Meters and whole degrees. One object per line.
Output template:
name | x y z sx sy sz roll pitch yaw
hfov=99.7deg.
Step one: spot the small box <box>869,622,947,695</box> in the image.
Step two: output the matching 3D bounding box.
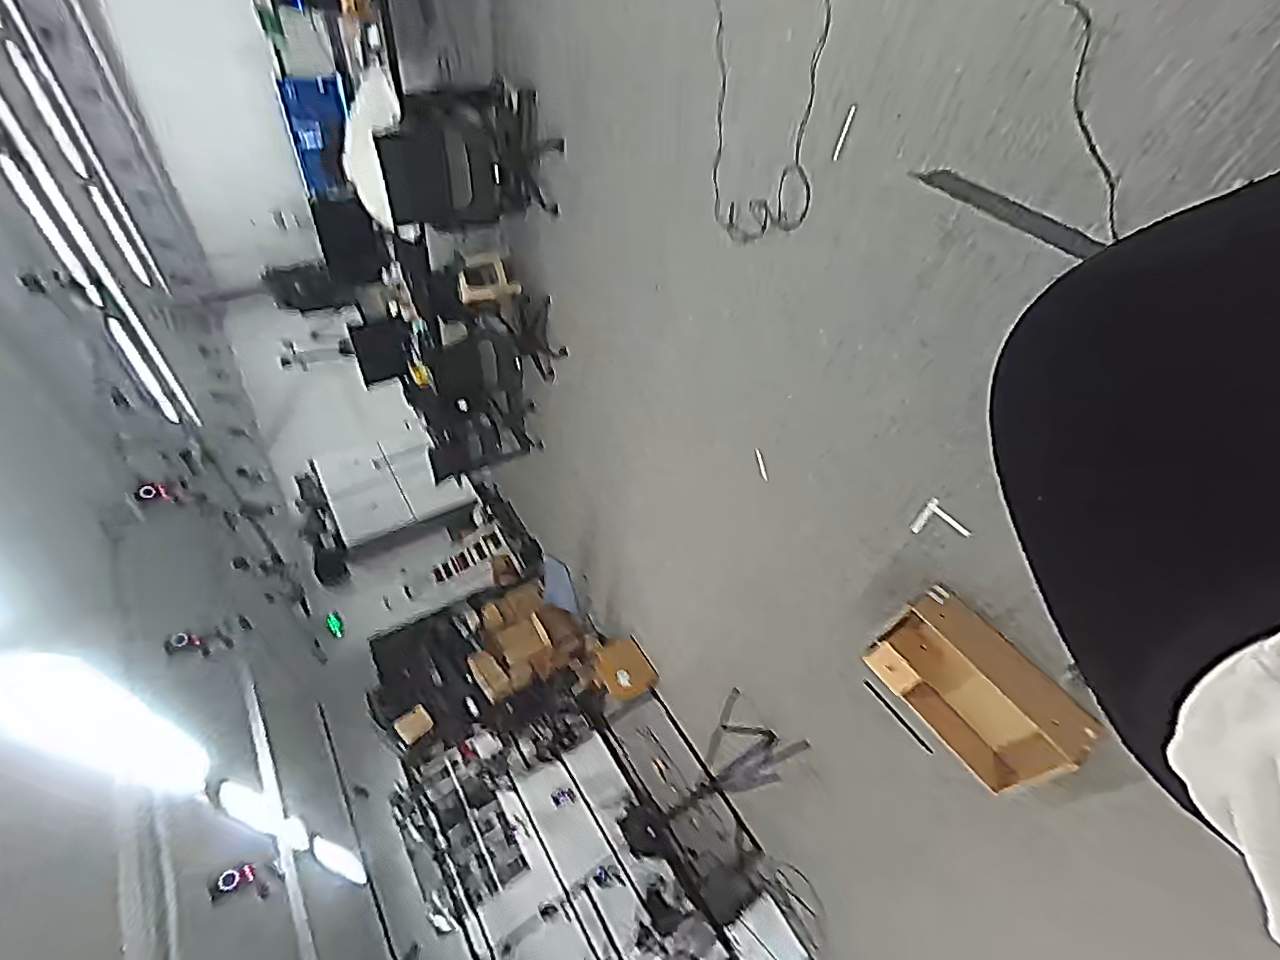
small box | 1.013 0.670 2.039 0.168 0.176 0.179 49 145 30
